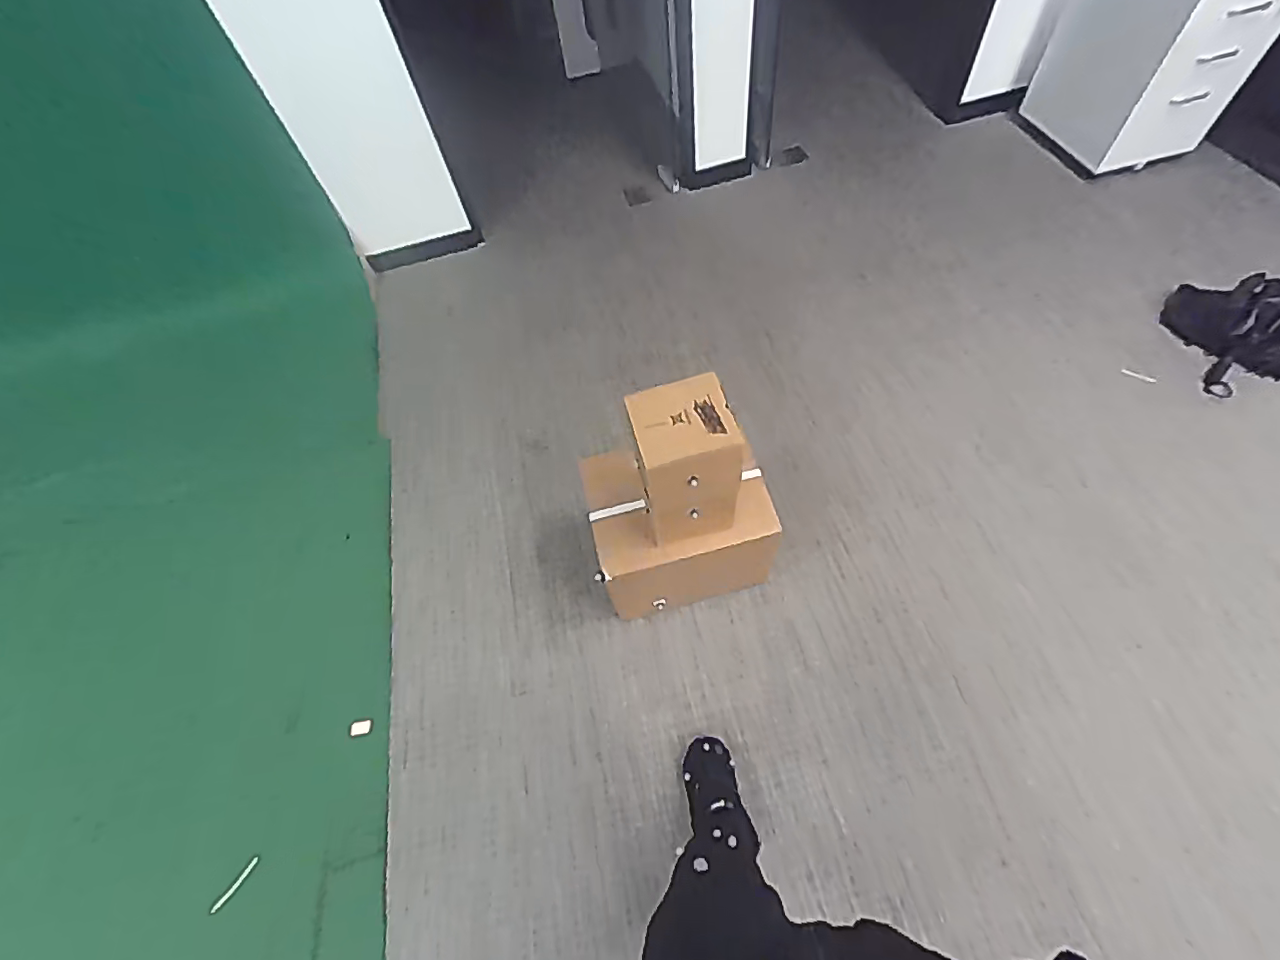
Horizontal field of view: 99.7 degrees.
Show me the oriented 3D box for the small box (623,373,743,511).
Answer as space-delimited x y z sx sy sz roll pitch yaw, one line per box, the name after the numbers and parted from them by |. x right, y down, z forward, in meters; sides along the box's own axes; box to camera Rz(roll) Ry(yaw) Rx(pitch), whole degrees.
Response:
0.081 -0.066 1.006 0.179 0.176 0.168 -17 59 0 | small box

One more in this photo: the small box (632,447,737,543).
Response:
0.095 0.014 1.149 0.179 0.176 0.168 -16 60 -3 | small box
